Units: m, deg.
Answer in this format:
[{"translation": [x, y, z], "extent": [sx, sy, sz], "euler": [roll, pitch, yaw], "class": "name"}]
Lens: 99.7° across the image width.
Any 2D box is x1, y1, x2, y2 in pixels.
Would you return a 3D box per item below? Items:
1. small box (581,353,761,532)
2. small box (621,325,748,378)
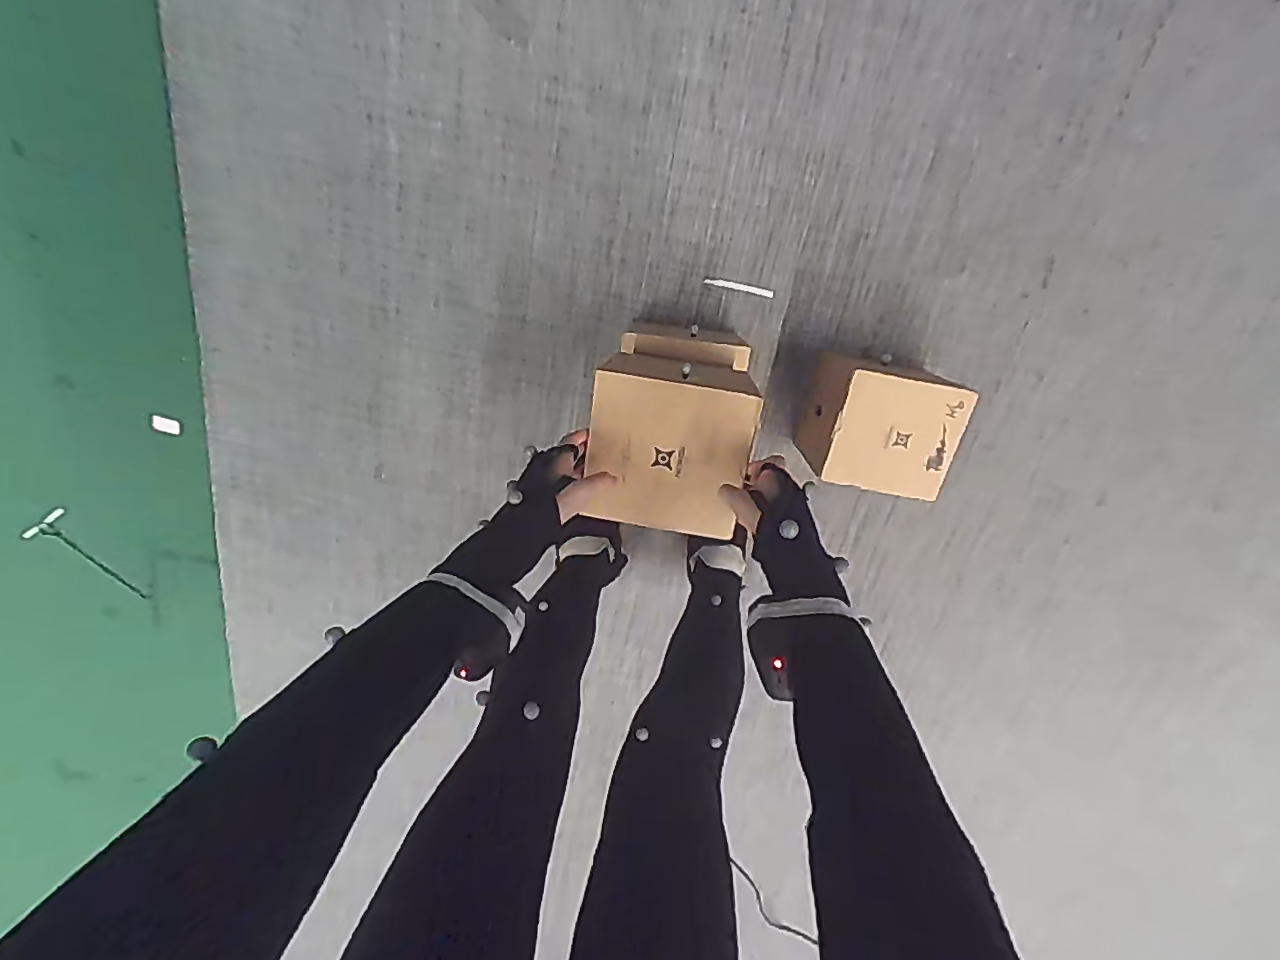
[{"translation": [0.036, -0.056, 0.669], "extent": [0.179, 0.176, 0.168], "euler": [10, 110, 2], "class": "small box"}, {"translation": [0.057, -0.143, 0.840], "extent": [0.179, 0.176, 0.168], "euler": [8, 111, 1], "class": "small box"}]
